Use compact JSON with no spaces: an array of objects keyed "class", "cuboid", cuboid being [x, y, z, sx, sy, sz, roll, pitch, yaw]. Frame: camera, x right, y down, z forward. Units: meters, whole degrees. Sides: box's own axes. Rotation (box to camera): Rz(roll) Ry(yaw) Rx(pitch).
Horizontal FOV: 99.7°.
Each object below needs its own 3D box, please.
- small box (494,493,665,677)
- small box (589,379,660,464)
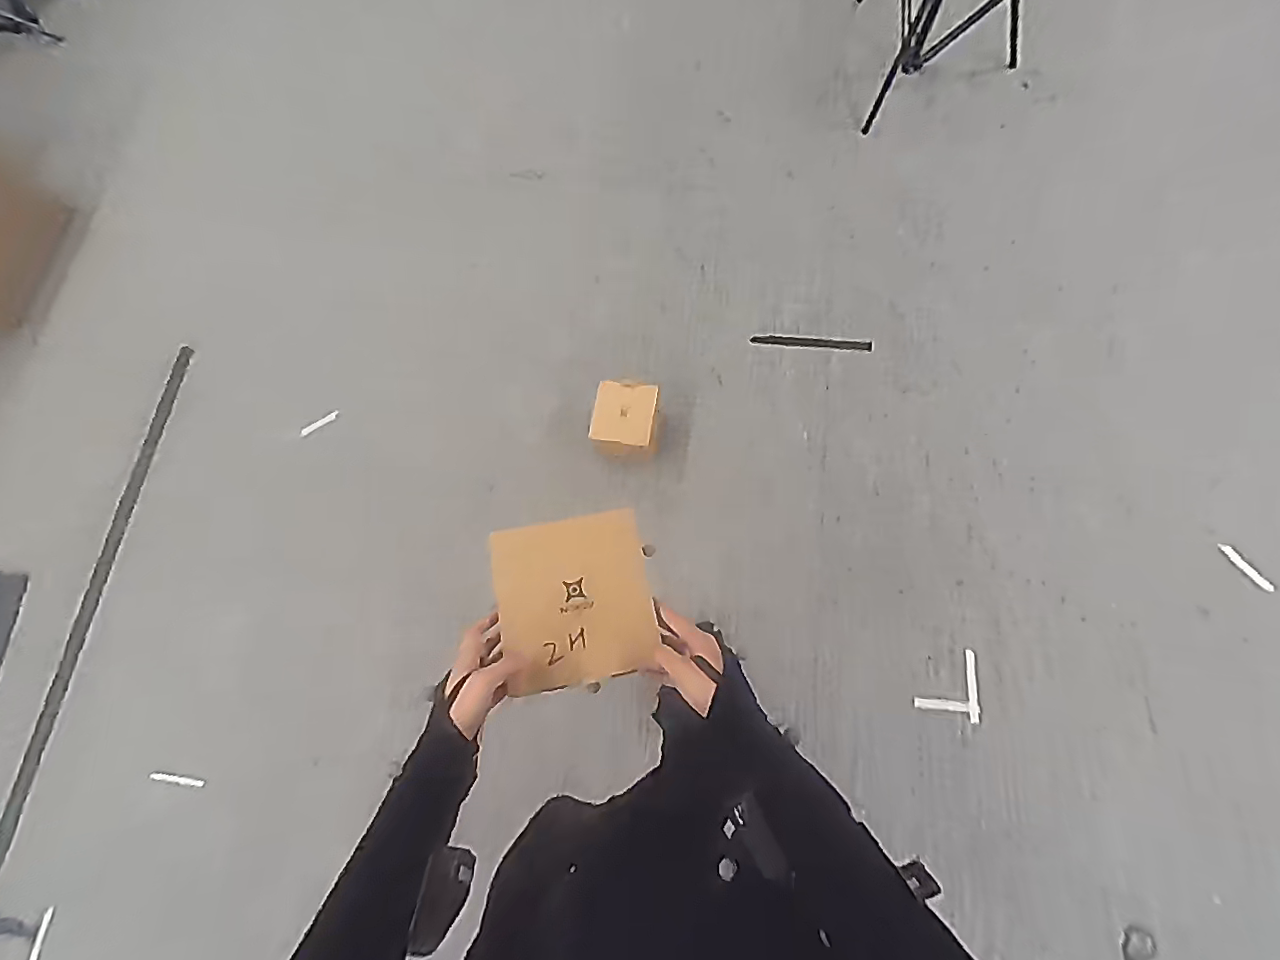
[{"class":"small box","cuboid":[-0.072,0.133,0.656,0.168,0.176,0.179,-10,73,-5]},{"class":"small box","cuboid":[-0.037,-0.161,1.525,0.168,0.176,0.179,8,75,7]}]
